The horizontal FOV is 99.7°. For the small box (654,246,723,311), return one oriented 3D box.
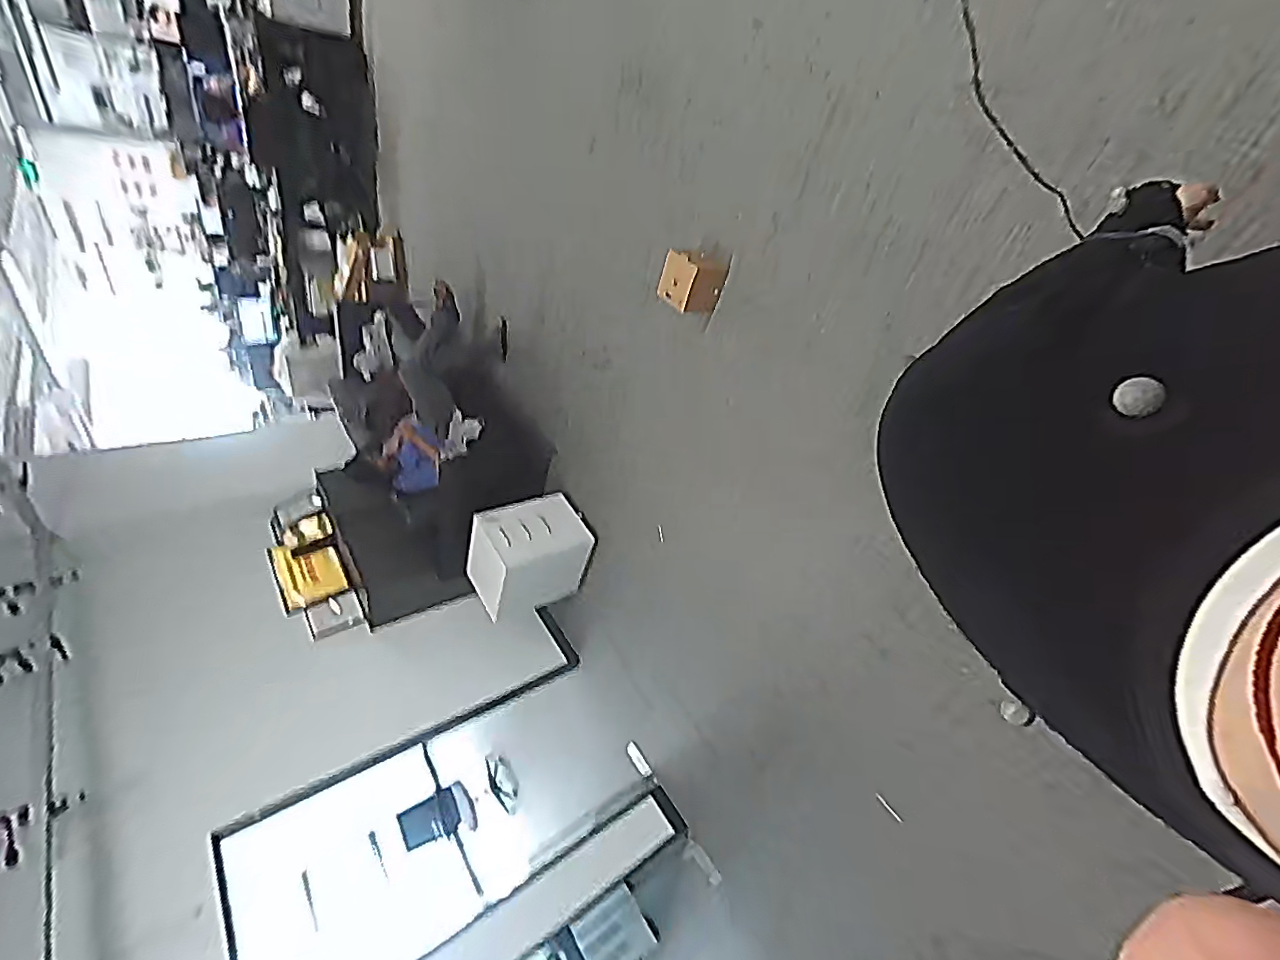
[{"bbox_3d":[0.186,-0.757,2.029,0.168,0.176,0.179,49,137,31],"label":"small box"}]
